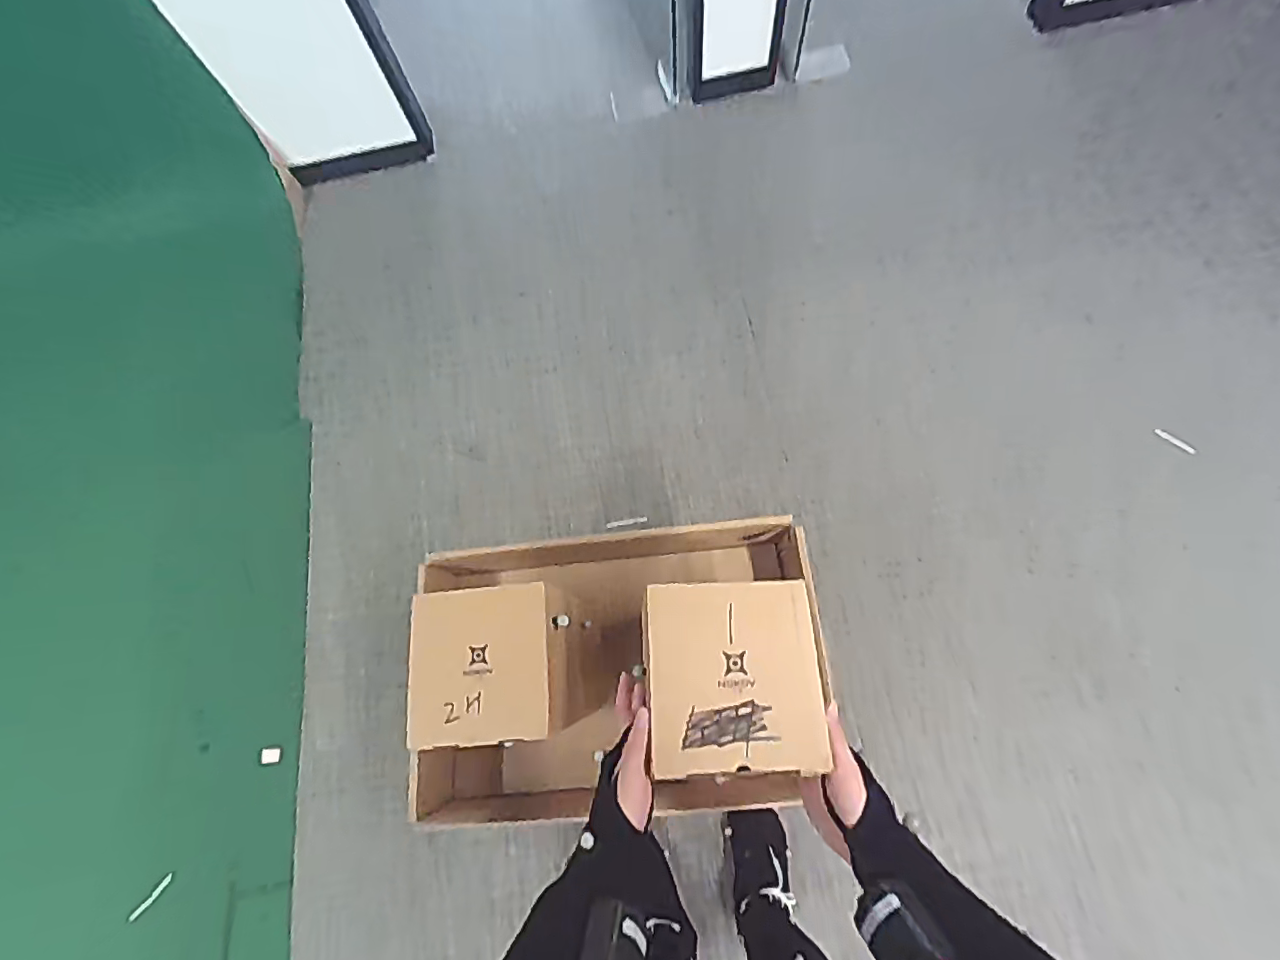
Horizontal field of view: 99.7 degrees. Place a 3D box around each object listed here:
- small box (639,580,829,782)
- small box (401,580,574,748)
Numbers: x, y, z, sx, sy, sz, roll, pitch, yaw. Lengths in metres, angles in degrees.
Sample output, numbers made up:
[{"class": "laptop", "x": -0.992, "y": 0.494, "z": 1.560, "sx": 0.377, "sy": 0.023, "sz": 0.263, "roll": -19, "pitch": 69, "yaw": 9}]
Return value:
[{"class": "small box", "x": 0.083, "y": 0.212, "z": 0.575, "sx": 0.168, "sy": 0.176, "sz": 0.179, "roll": -1, "pitch": 66, "yaw": -1}, {"class": "small box", "x": -0.183, "y": 0.234, "z": 0.697, "sx": 0.168, "sy": 0.176, "sz": 0.179, "roll": -7, "pitch": 71, "yaw": 4}]
